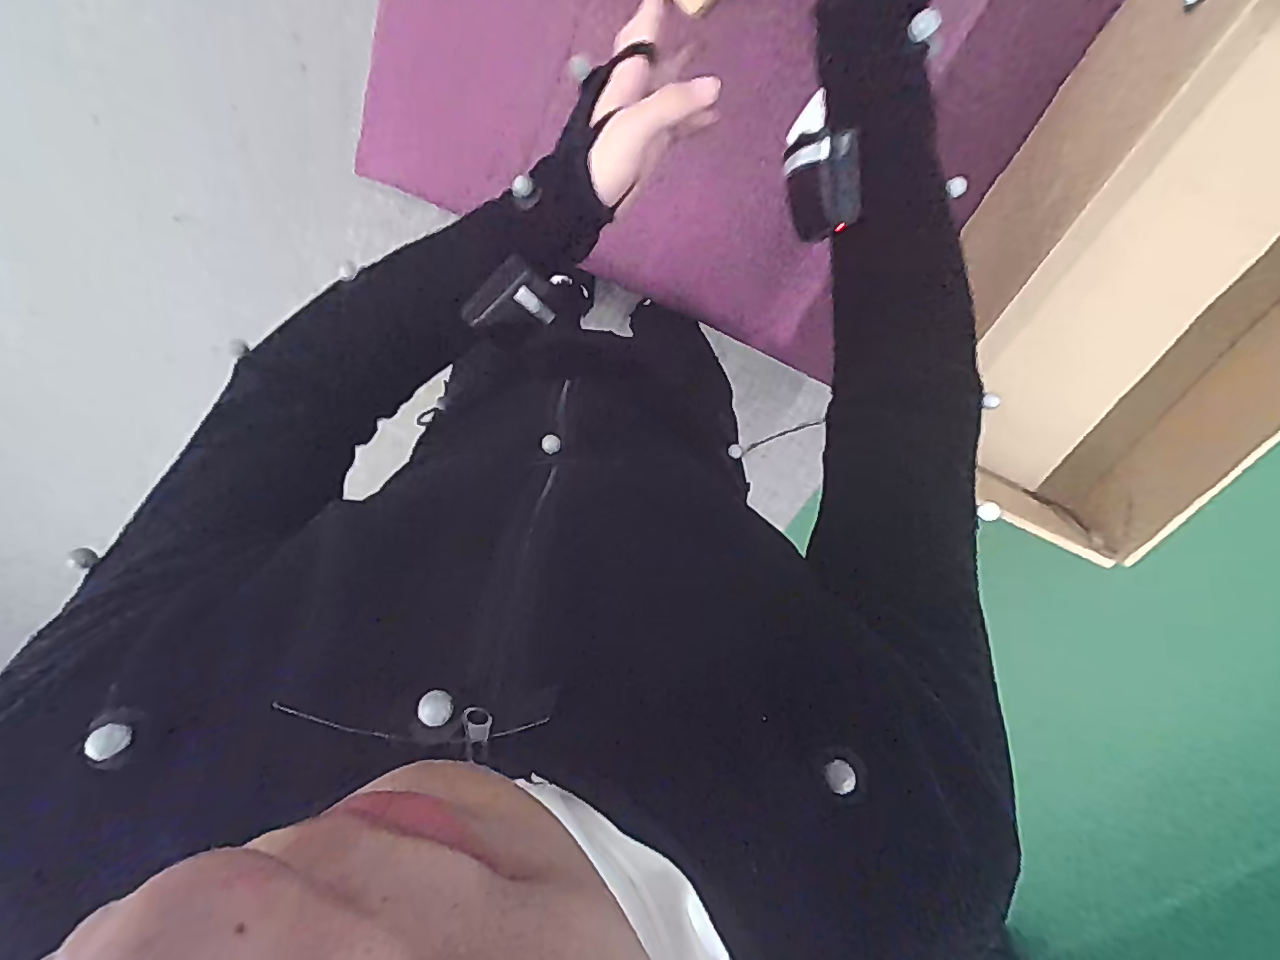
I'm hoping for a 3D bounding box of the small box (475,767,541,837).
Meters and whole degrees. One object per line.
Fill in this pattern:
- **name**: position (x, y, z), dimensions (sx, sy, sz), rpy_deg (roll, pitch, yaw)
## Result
- **small box**: position (-0.477, 1.178, 1.979), dimensions (0.179, 0.176, 0.168), rpy_deg (-6, 119, 5)
